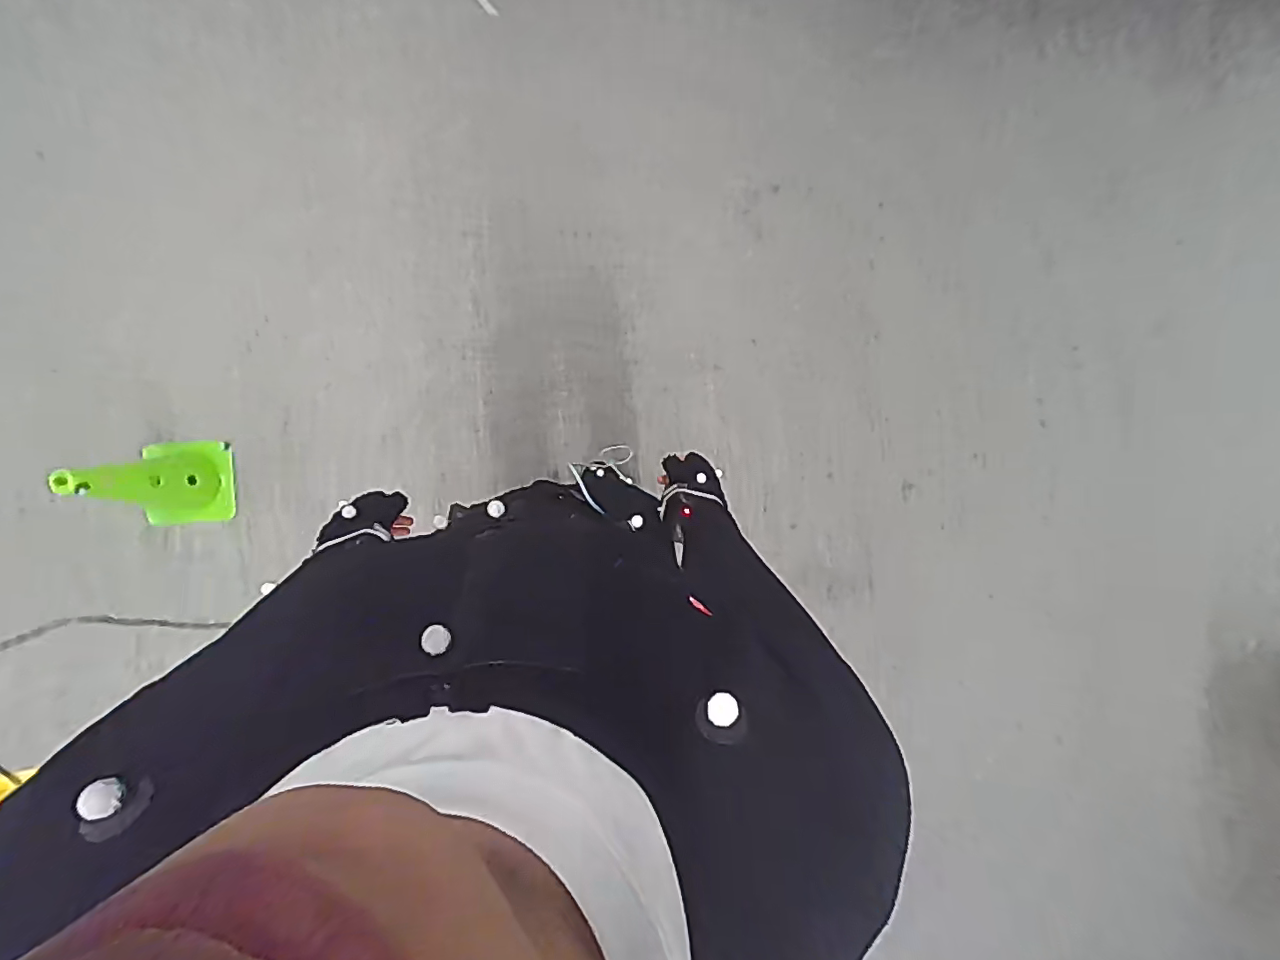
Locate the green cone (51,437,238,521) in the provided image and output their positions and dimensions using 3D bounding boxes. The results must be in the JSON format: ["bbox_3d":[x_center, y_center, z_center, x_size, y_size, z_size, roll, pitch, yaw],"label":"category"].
[{"bbox_3d":[-1.092,0.000,1.171,0.200,0.368,0.202,-4,91,-8],"label":"green cone"}]
